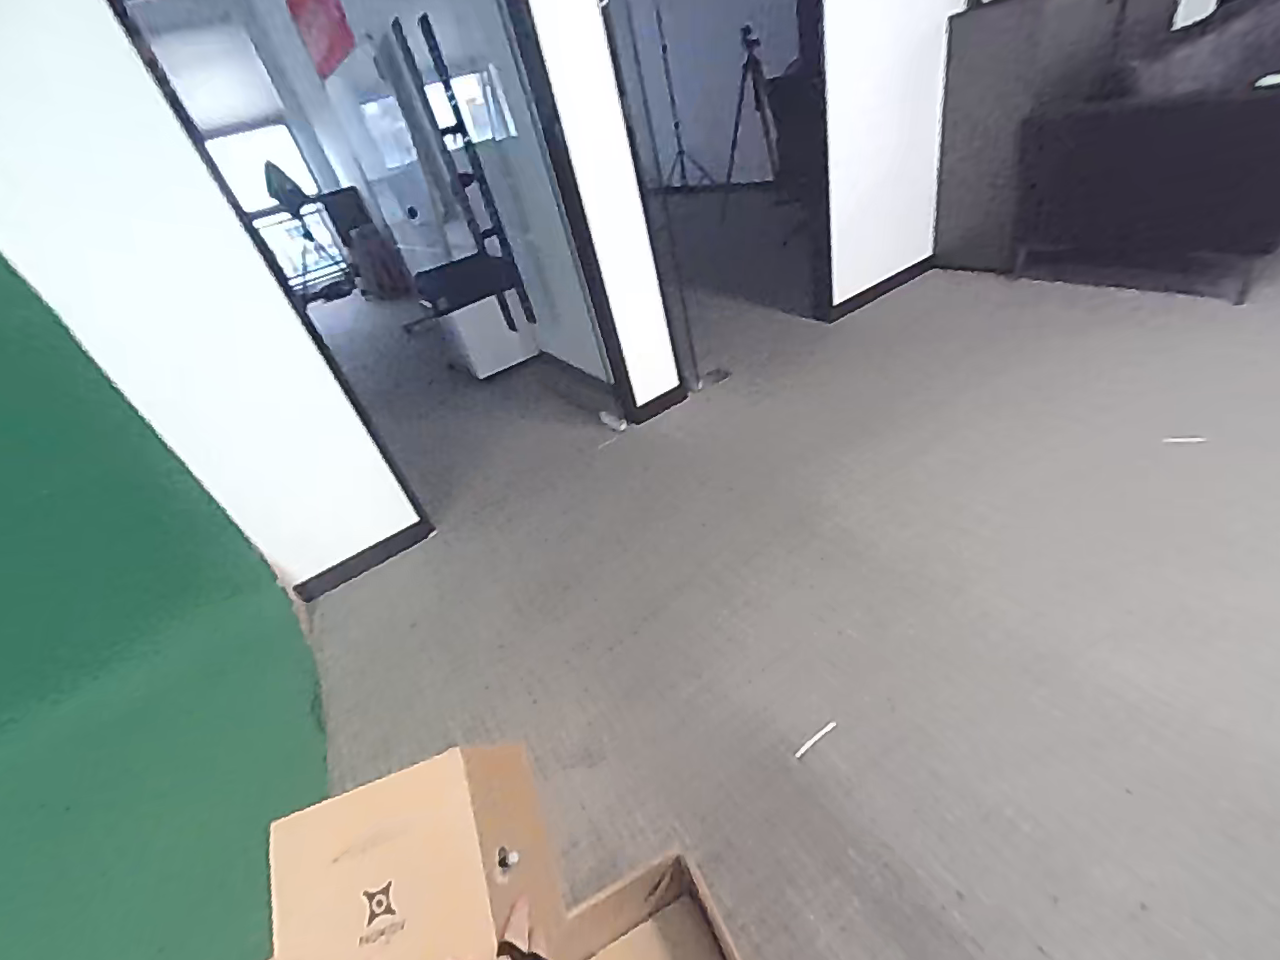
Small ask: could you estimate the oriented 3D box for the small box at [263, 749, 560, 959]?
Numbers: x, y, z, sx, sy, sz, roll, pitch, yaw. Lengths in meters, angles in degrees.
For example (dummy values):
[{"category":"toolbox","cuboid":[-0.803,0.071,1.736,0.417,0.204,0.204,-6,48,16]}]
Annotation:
[{"category":"small box","cuboid":[-0.181,0.349,0.463,0.168,0.176,0.179,-20,64,-2]}]
